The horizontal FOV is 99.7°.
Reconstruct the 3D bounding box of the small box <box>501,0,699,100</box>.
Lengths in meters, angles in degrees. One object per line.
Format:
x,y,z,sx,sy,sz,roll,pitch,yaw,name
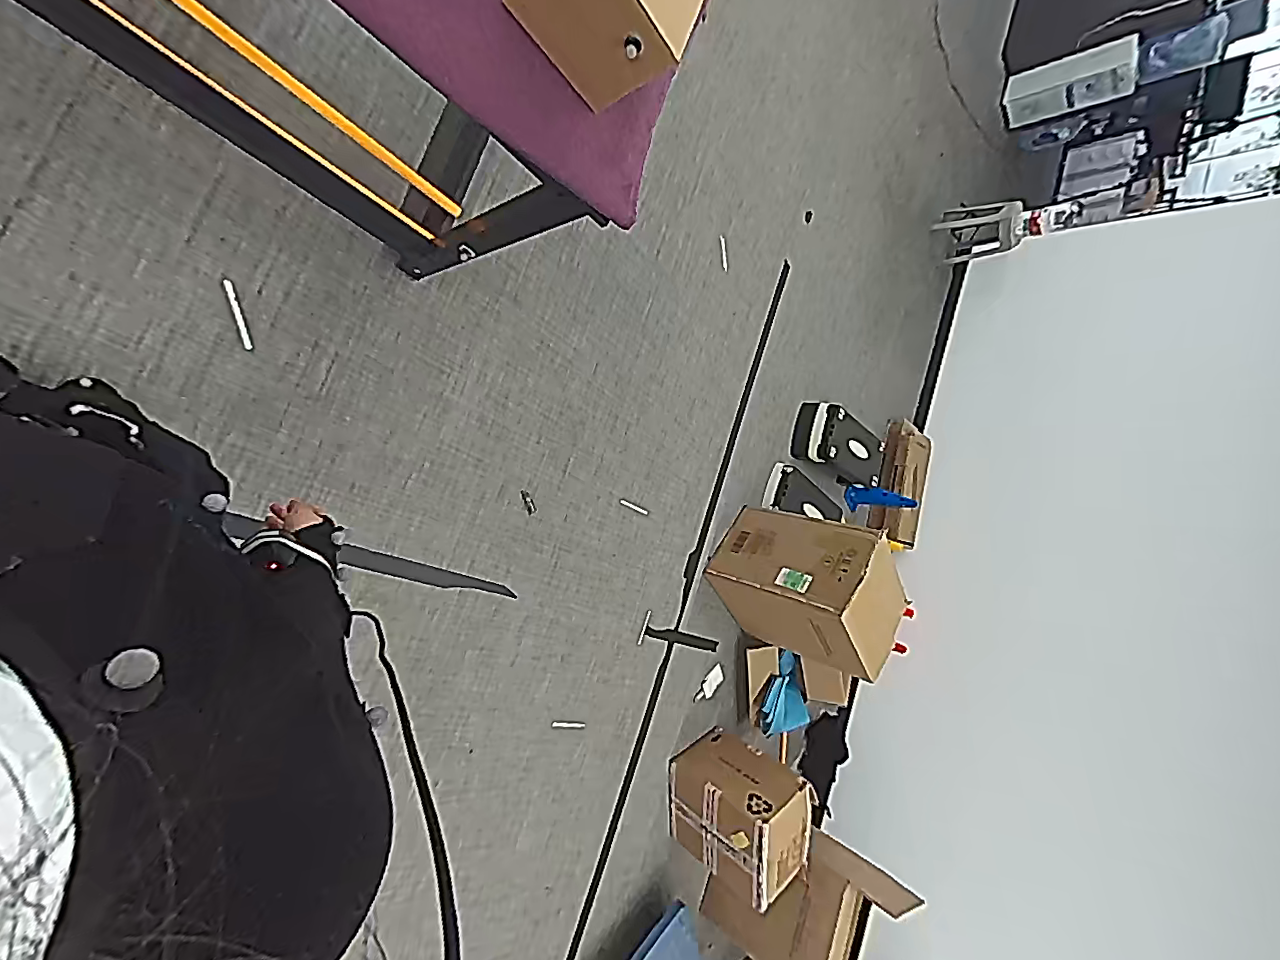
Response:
-0.044,-0.638,0.700,0.179,0.176,0.168,30,74,-43,small box
